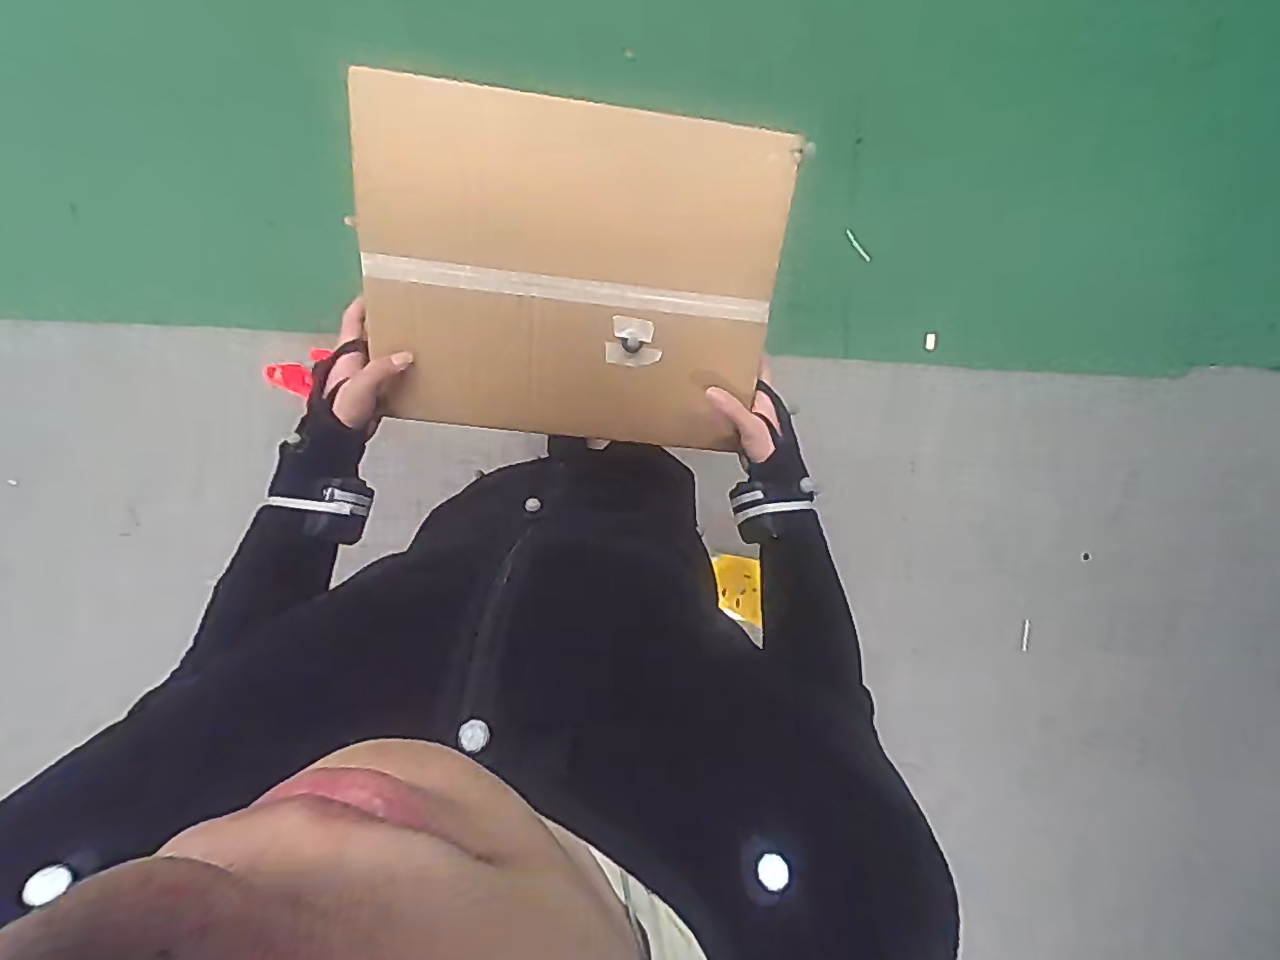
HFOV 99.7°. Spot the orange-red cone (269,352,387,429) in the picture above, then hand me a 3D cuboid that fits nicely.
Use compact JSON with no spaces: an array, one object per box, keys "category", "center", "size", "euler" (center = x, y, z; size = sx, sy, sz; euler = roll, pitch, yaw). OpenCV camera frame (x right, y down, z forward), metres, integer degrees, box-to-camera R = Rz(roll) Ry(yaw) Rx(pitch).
[{"category":"orange-red cone","center":[-0.818,-0.243,1.367],"size":[0.199,0.360,0.198],"euler":[9,93,-5]}]

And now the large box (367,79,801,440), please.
[{"category":"large box","center":[-0.069,-0.256,0.685],"size":[0.408,0.320,0.320],"euler":[5,114,-5]}]
